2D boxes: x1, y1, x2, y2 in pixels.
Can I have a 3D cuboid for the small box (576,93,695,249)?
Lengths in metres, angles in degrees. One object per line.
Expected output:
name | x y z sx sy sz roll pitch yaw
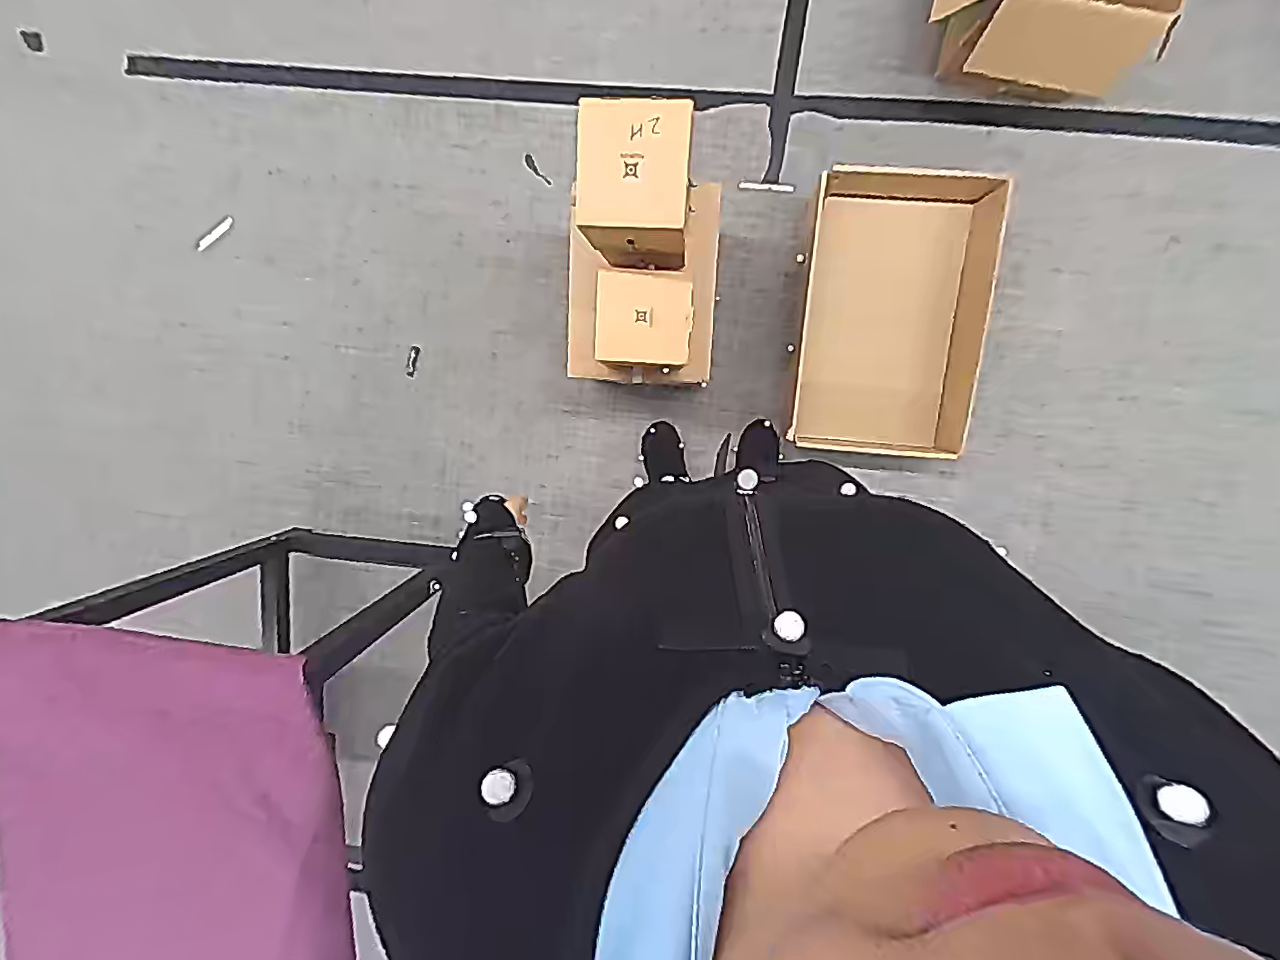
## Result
small box | -0.001 -0.477 0.860 0.168 0.176 0.179 4 101 4

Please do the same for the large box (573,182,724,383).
large box | 0.024 -0.439 1.280 0.320 0.320 0.408 3 101 5
